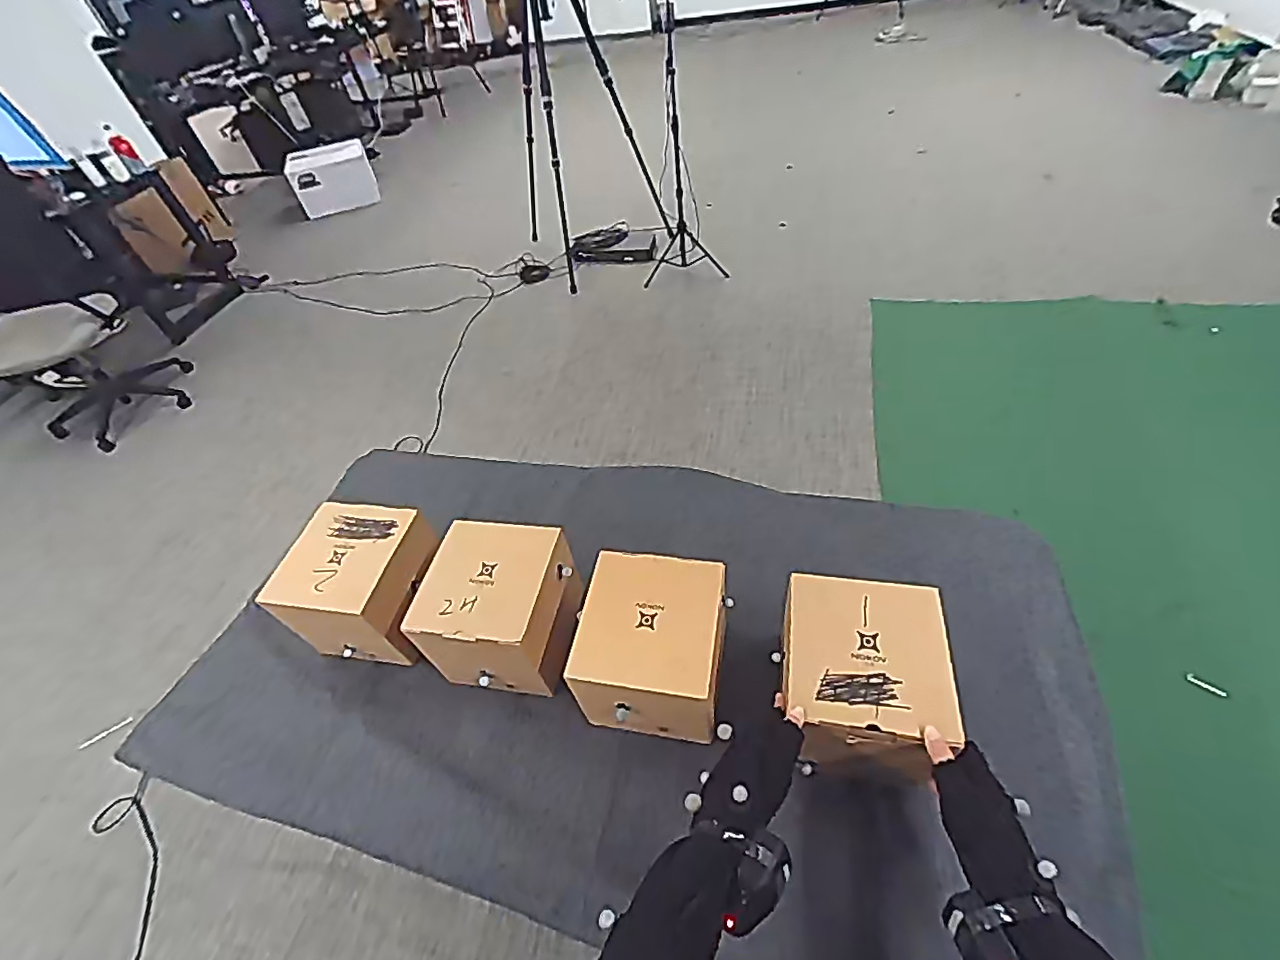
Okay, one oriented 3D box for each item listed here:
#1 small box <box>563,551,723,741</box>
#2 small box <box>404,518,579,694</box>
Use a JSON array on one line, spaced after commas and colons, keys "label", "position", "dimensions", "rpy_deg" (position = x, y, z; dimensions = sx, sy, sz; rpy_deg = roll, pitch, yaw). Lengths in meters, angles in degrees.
[{"label": "small box", "position": [0.018, 0.217, 0.703], "dimensions": [0.168, 0.176, 0.179], "rpy_deg": [4, 48, 13]}, {"label": "small box", "position": [-0.193, 0.178, 0.768], "dimensions": [0.168, 0.176, 0.179], "rpy_deg": [3, 49, 12]}]
